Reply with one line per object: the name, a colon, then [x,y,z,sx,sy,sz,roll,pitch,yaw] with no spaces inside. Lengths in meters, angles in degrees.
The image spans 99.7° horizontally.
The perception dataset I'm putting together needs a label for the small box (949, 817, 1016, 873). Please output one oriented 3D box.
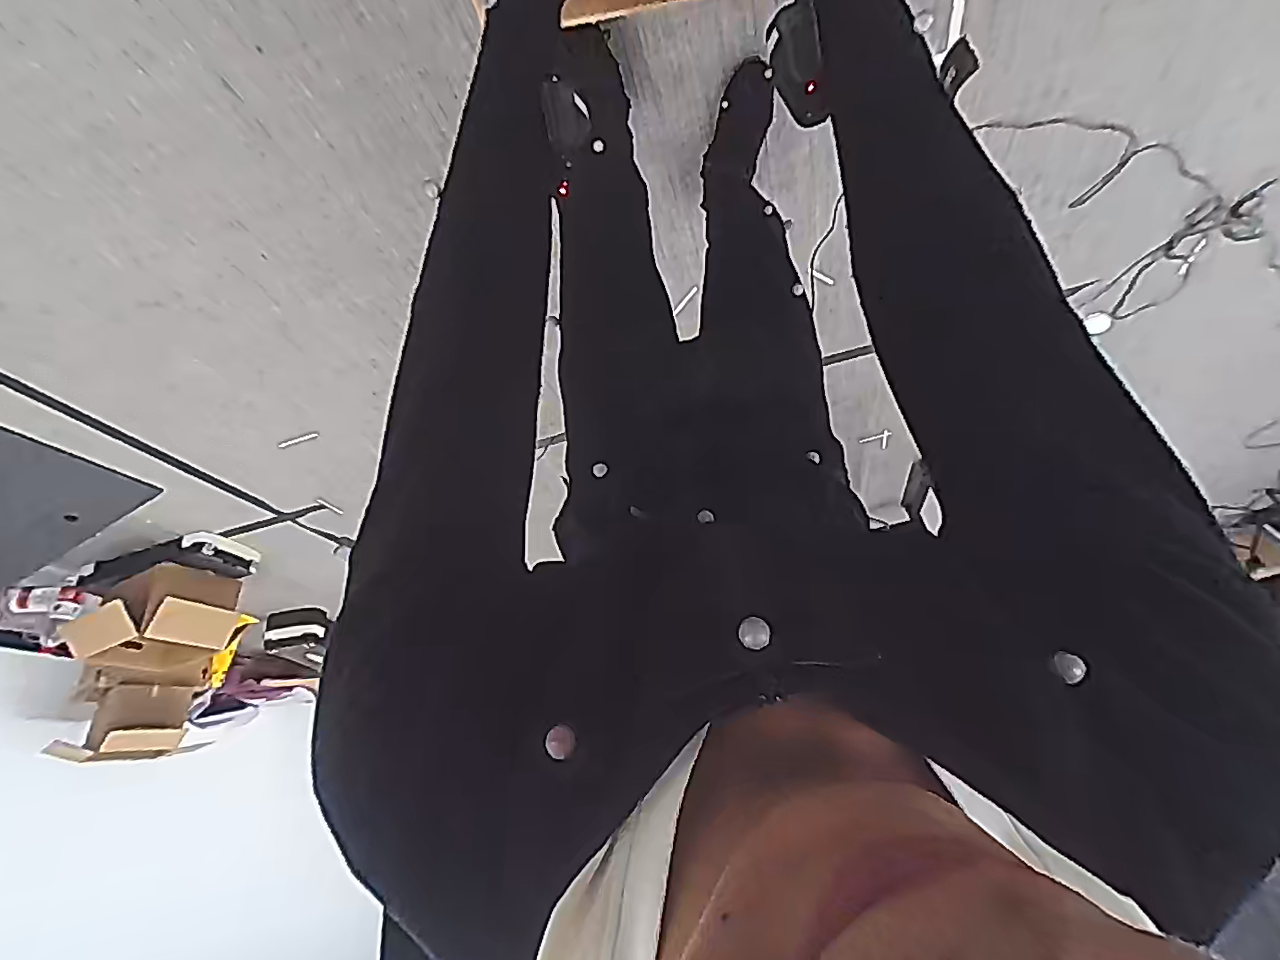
small box: [1.368,1.469,2.173,0.168,0.176,0.179,-17,149,13]
